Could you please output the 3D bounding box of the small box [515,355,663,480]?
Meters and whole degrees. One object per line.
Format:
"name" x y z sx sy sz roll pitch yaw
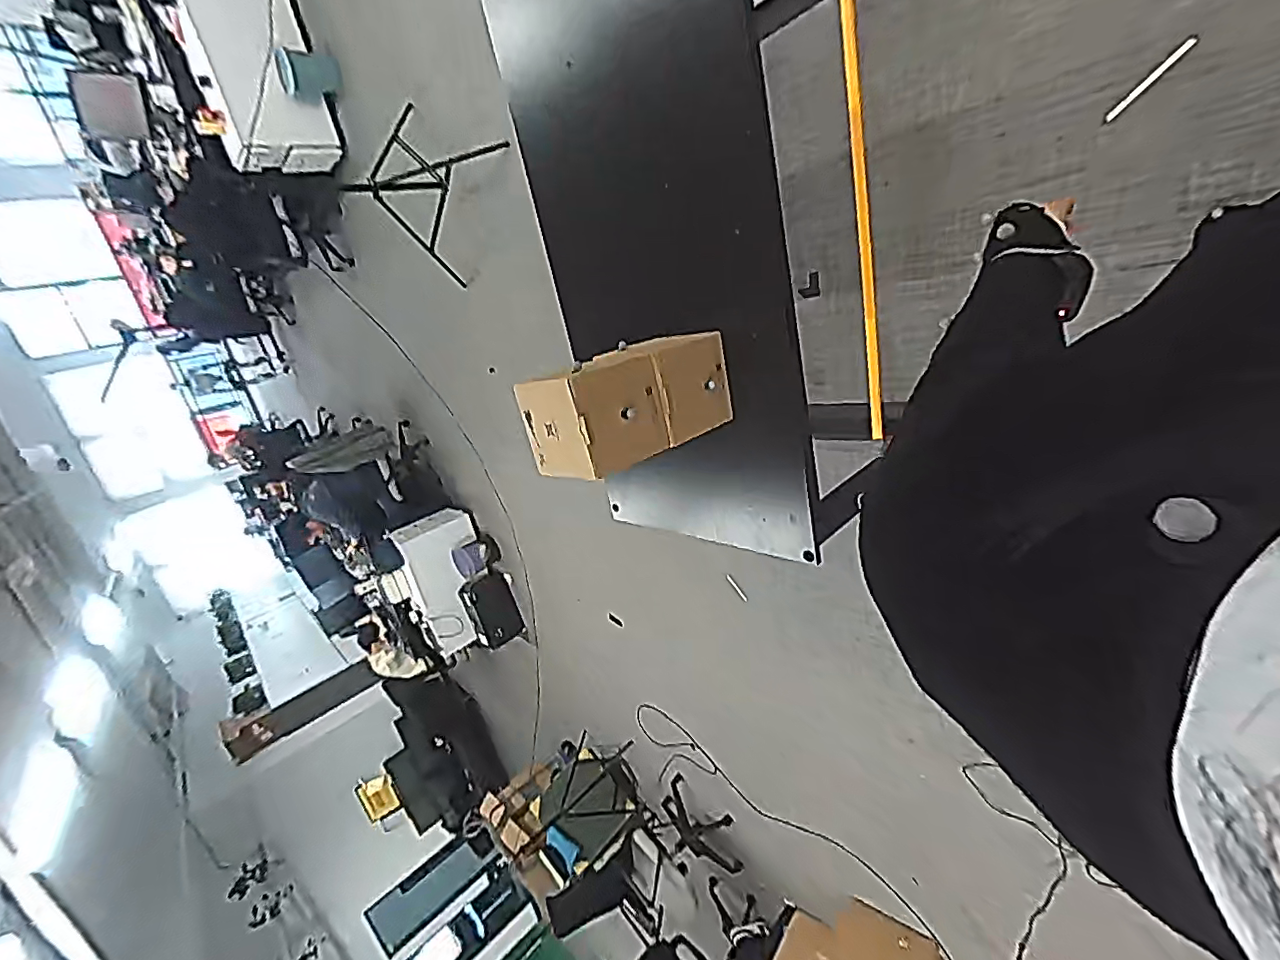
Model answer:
"small box" -0.079 -0.110 0.923 0.179 0.176 0.168 6 116 49

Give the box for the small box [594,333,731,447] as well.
"small box" 0.045 -0.172 1.012 0.179 0.176 0.168 10 120 48
